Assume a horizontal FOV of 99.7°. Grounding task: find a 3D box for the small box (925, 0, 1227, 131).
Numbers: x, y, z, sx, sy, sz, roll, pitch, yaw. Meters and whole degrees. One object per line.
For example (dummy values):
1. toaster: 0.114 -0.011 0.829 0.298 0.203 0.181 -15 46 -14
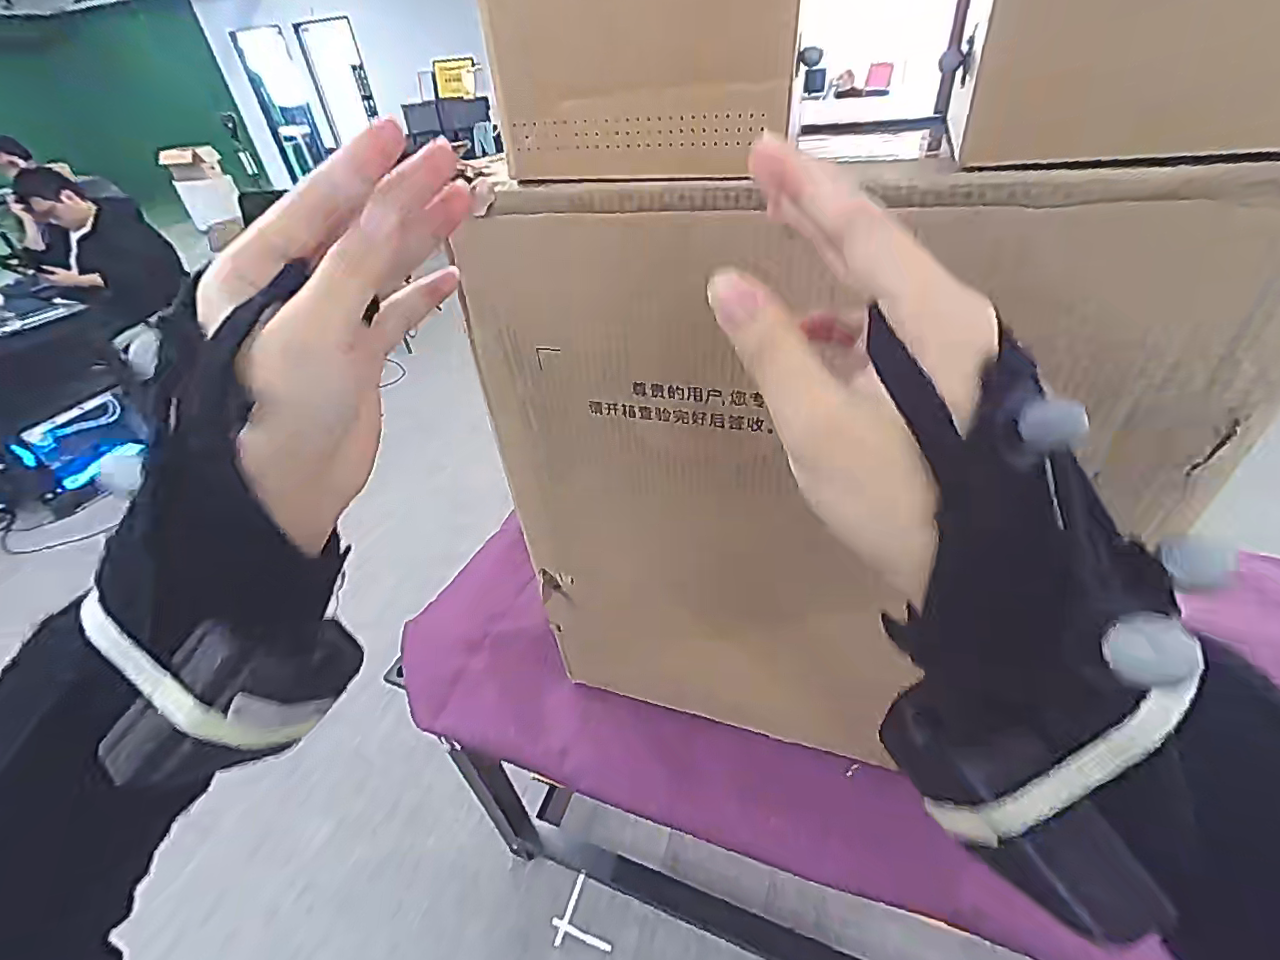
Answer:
1. small box: 0.331 -0.382 0.423 0.168 0.176 0.179 9 40 20
